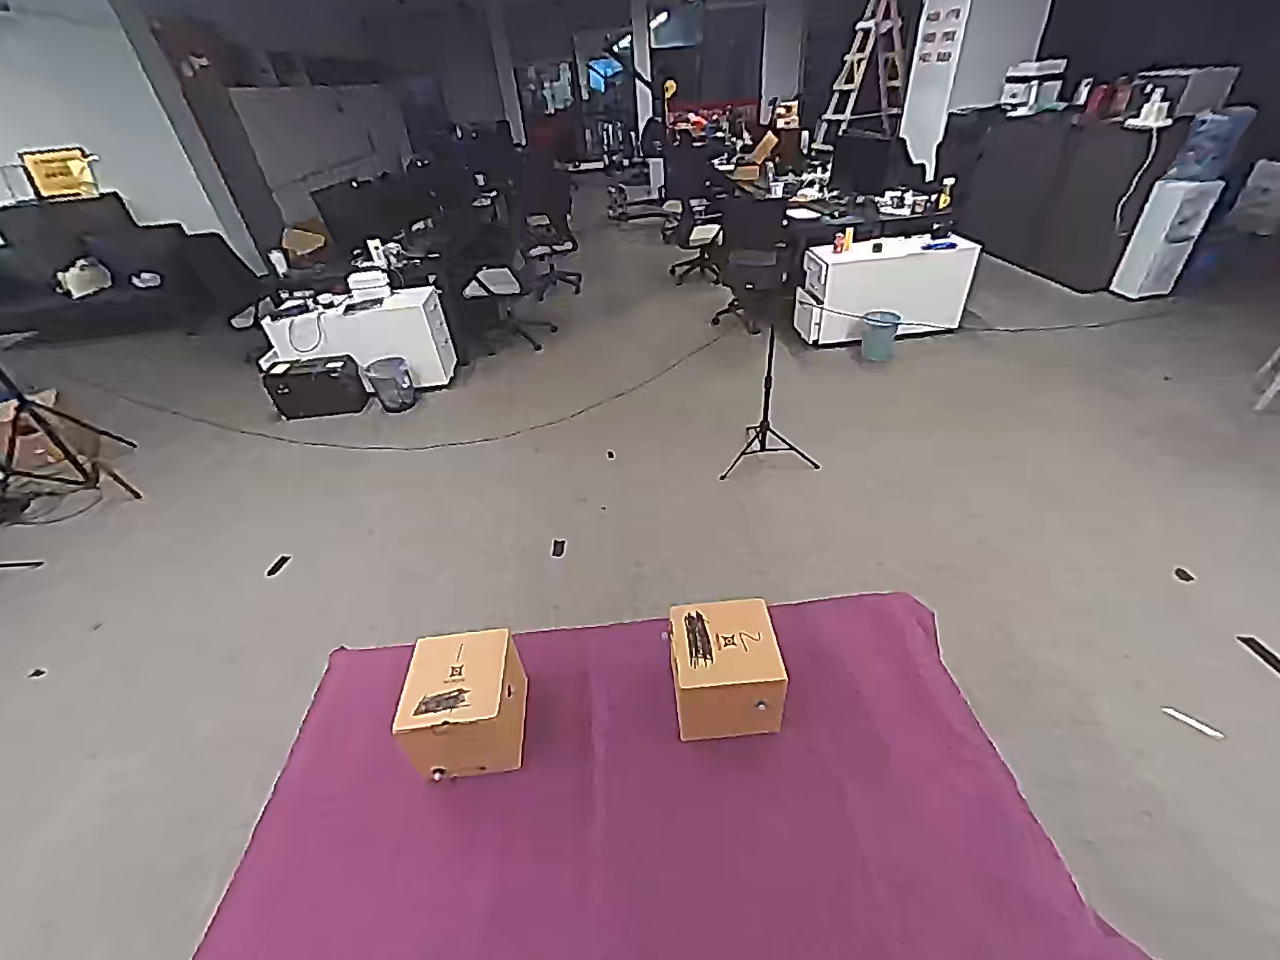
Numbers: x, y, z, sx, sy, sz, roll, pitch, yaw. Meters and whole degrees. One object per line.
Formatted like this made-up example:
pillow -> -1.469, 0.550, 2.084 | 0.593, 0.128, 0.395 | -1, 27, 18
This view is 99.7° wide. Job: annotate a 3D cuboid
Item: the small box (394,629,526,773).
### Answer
small box -> -0.301, 0.391, 0.949 | 0.168, 0.176, 0.179 | -6, 37, -2
